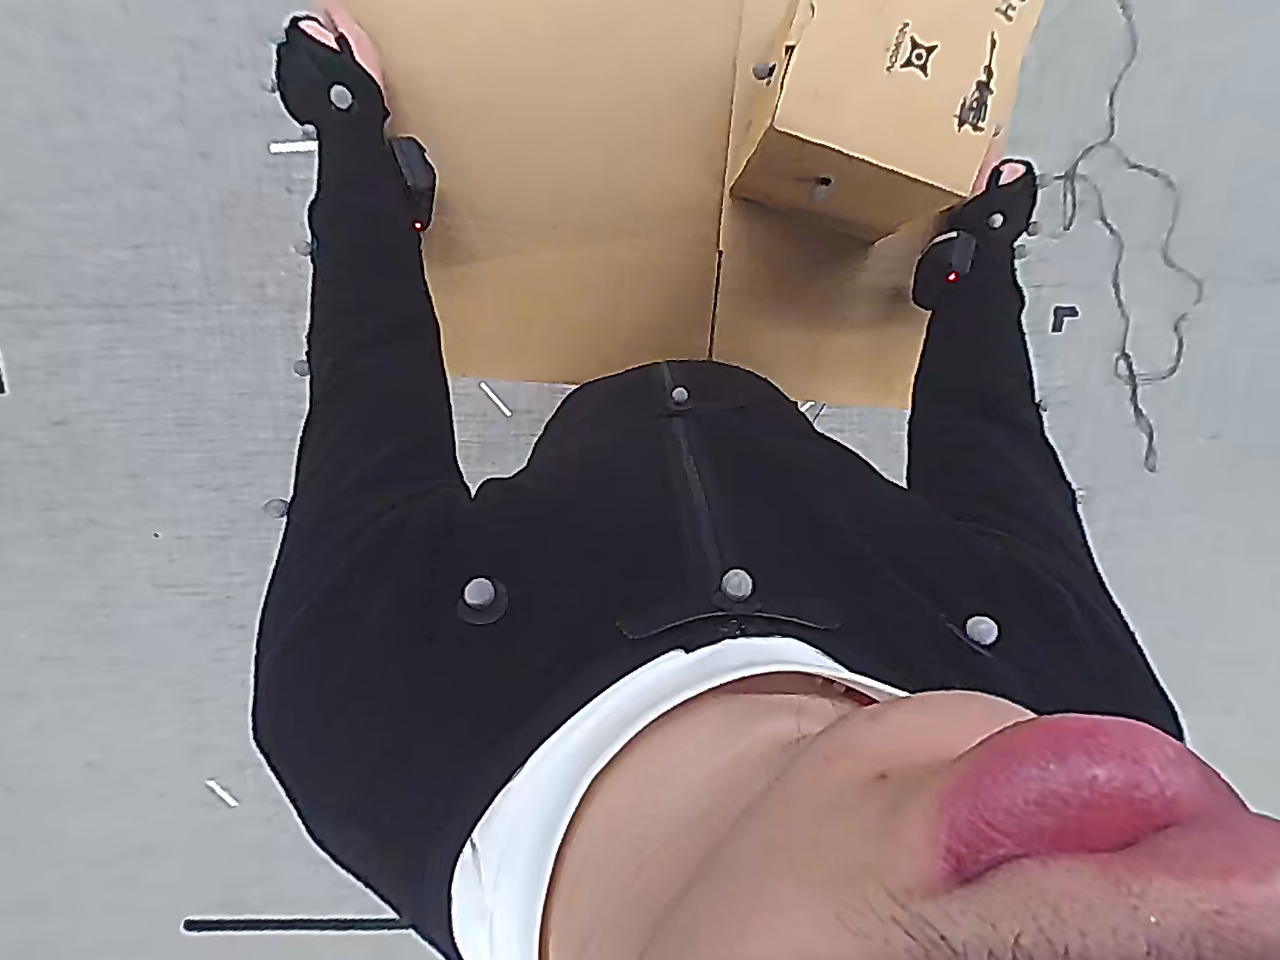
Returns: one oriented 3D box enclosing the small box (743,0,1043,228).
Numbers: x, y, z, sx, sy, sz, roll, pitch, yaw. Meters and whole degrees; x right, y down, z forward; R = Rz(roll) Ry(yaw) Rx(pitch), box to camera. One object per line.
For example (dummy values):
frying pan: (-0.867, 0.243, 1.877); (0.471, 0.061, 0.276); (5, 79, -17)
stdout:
small box: (0.210, -0.355, 0.499); (0.179, 0.176, 0.168); (16, 102, -4)
